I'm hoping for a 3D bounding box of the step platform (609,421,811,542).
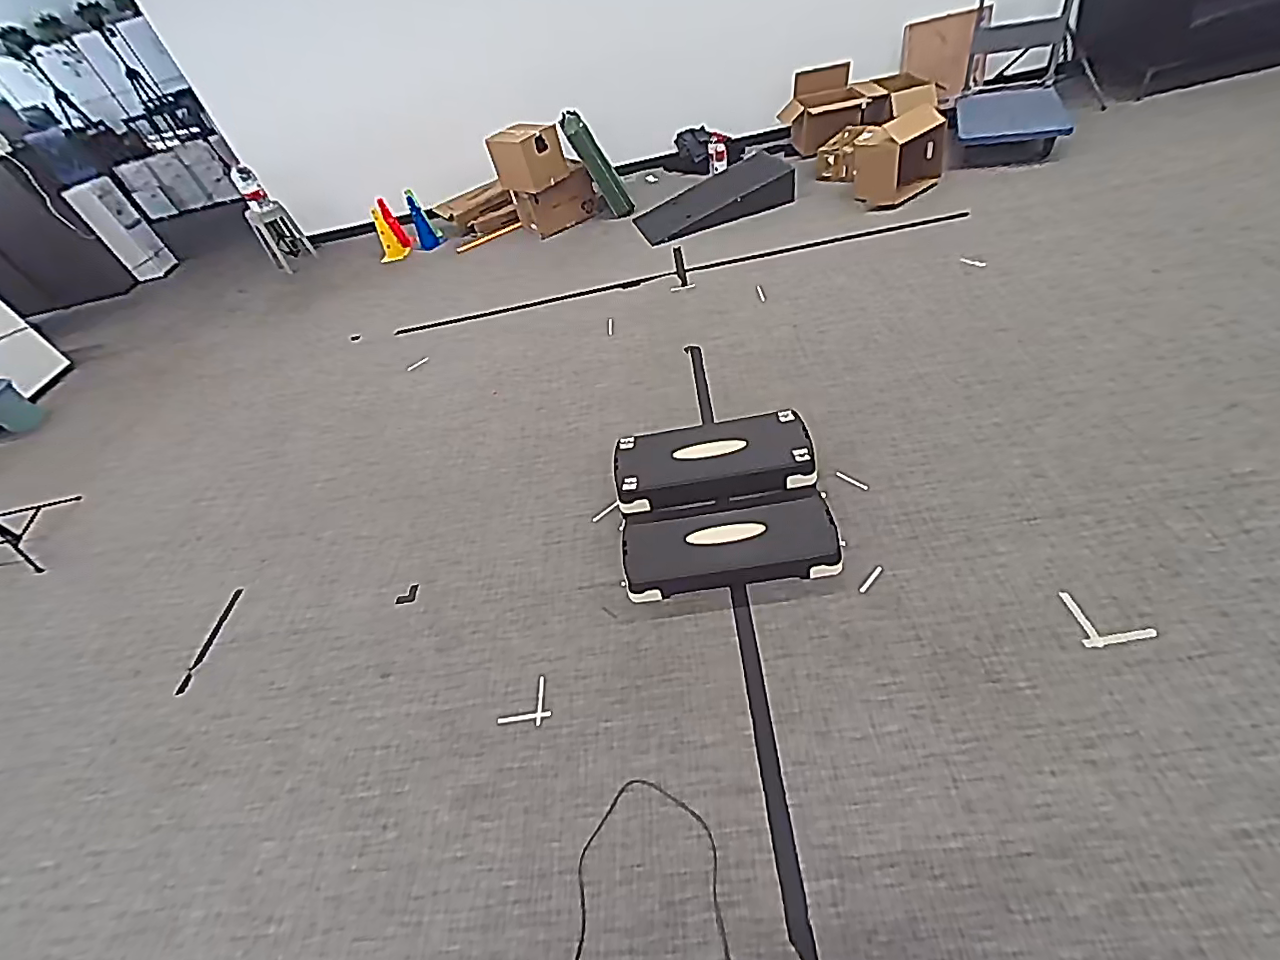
[{"bbox_3d":[0.232,0.000,1.877,0.684,0.204,0.286,-10,46,5],"label":"step platform"}]
